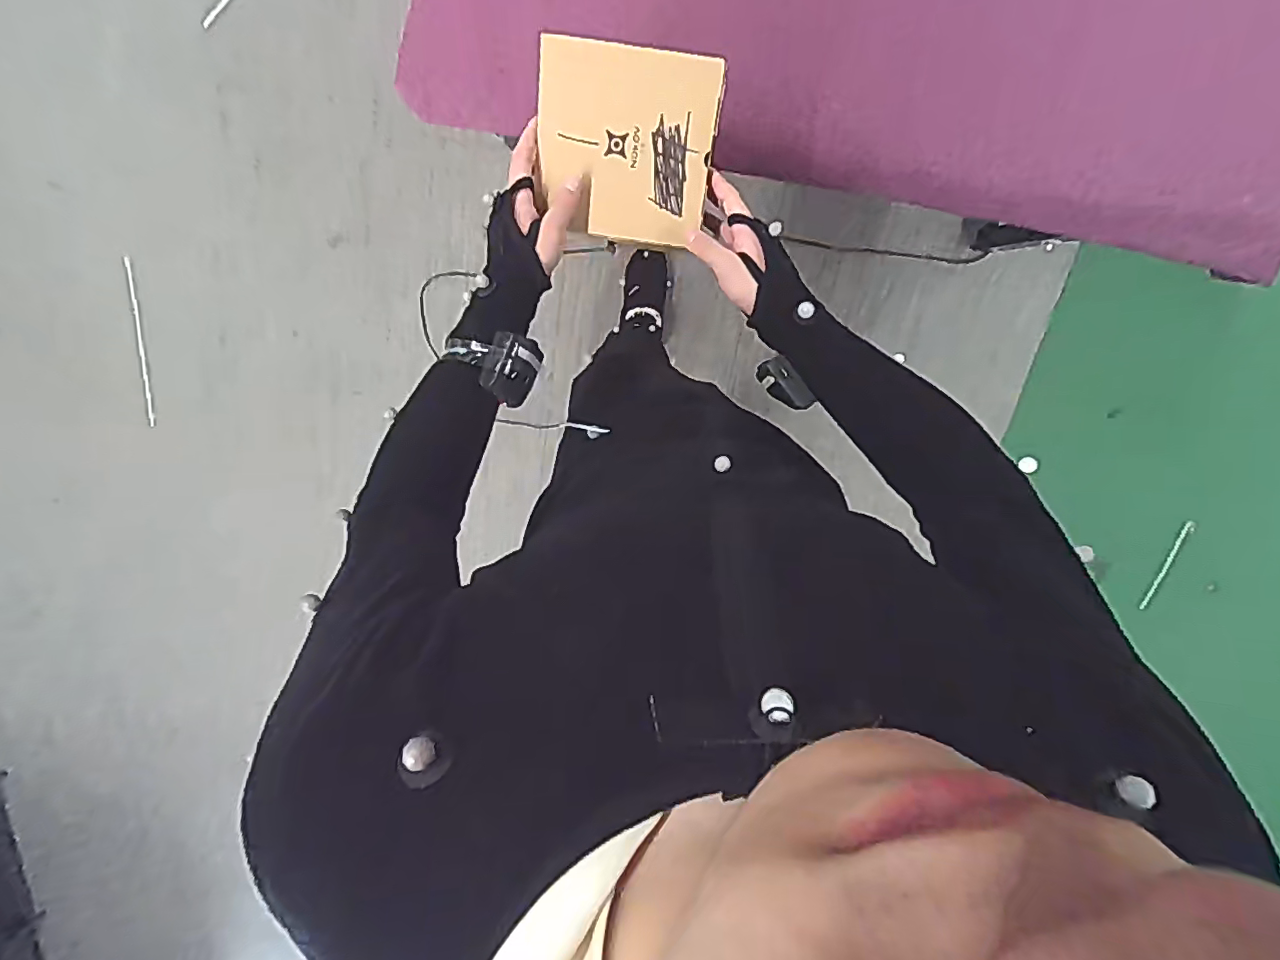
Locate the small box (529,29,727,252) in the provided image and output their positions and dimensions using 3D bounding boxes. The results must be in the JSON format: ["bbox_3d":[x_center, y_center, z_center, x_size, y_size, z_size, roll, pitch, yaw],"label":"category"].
[{"bbox_3d":[-0.015,-0.352,0.597,0.179,0.176,0.168,8,110,-2],"label":"small box"}]
